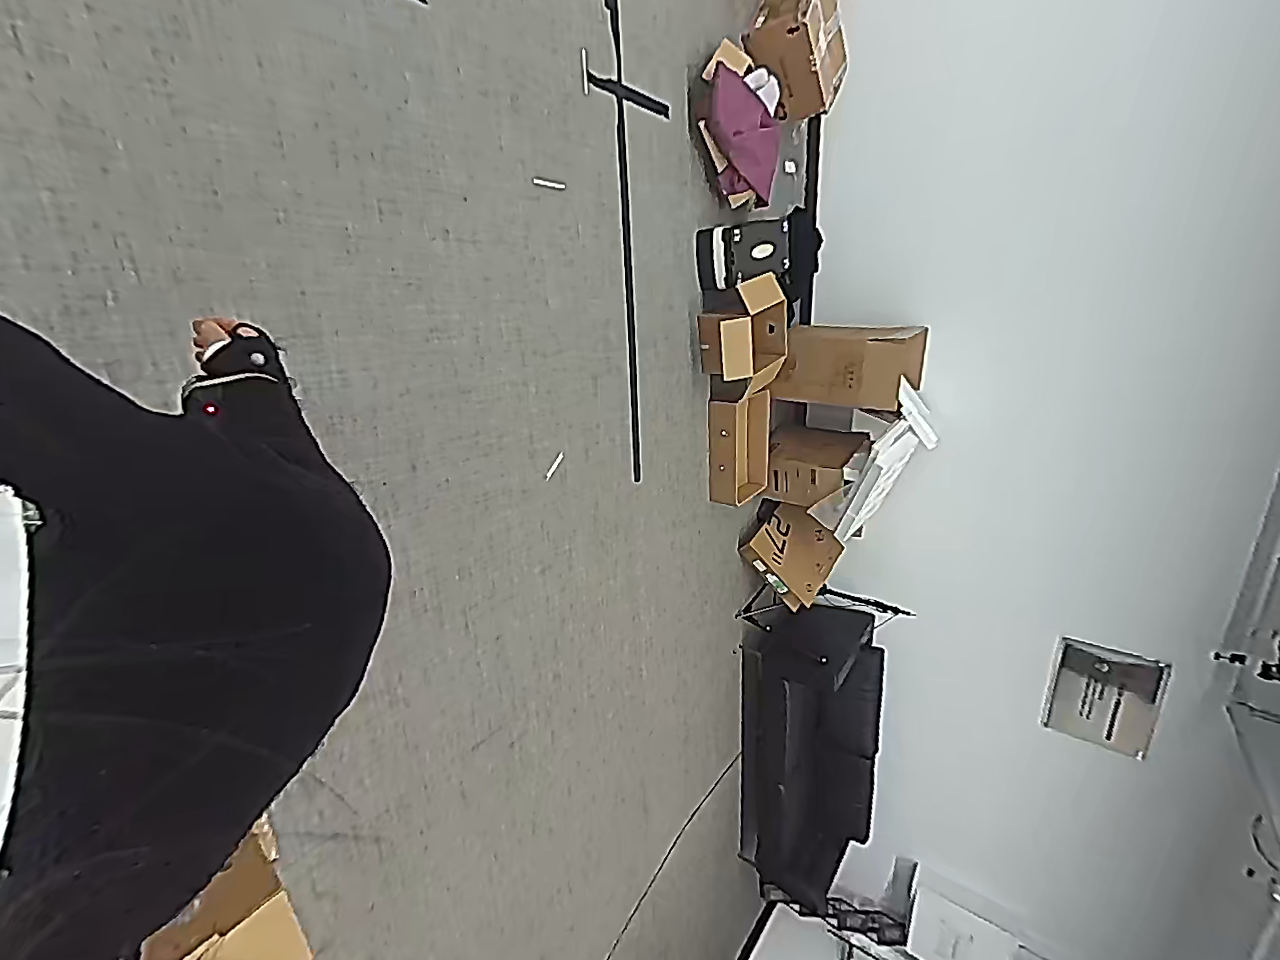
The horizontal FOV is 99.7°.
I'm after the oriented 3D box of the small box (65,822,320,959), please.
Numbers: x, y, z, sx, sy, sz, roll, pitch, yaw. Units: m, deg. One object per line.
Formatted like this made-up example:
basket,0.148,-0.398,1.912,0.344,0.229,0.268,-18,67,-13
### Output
small box,-0.490,0.527,0.603,0.168,0.176,0.179,-26,118,-47
